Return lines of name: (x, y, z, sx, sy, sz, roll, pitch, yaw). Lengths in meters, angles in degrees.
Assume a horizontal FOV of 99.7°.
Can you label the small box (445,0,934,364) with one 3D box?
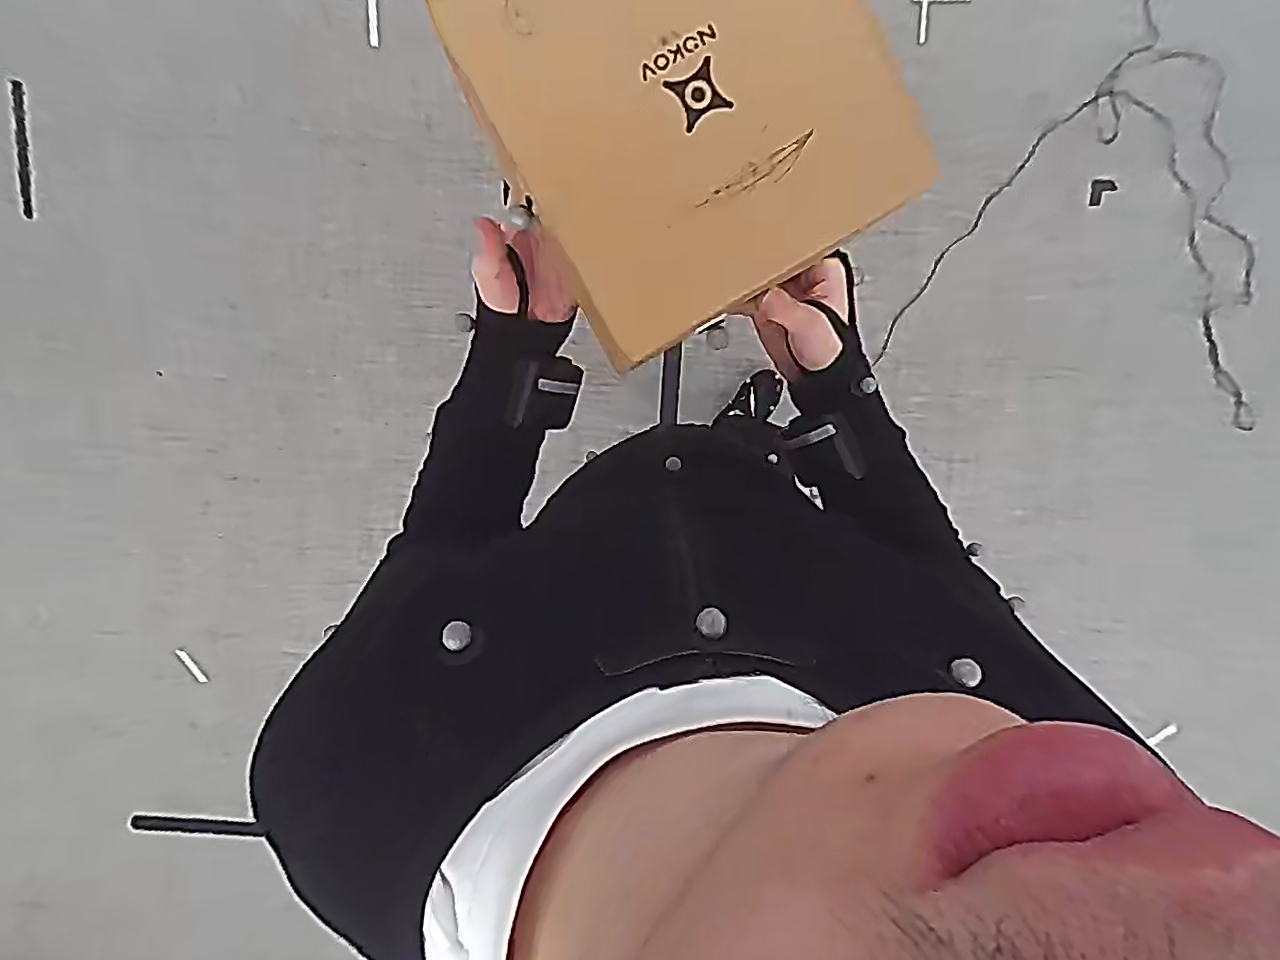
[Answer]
small box: (0.021, -0.186, 0.321, 0.168, 0.176, 0.179, -31, 99, 2)
